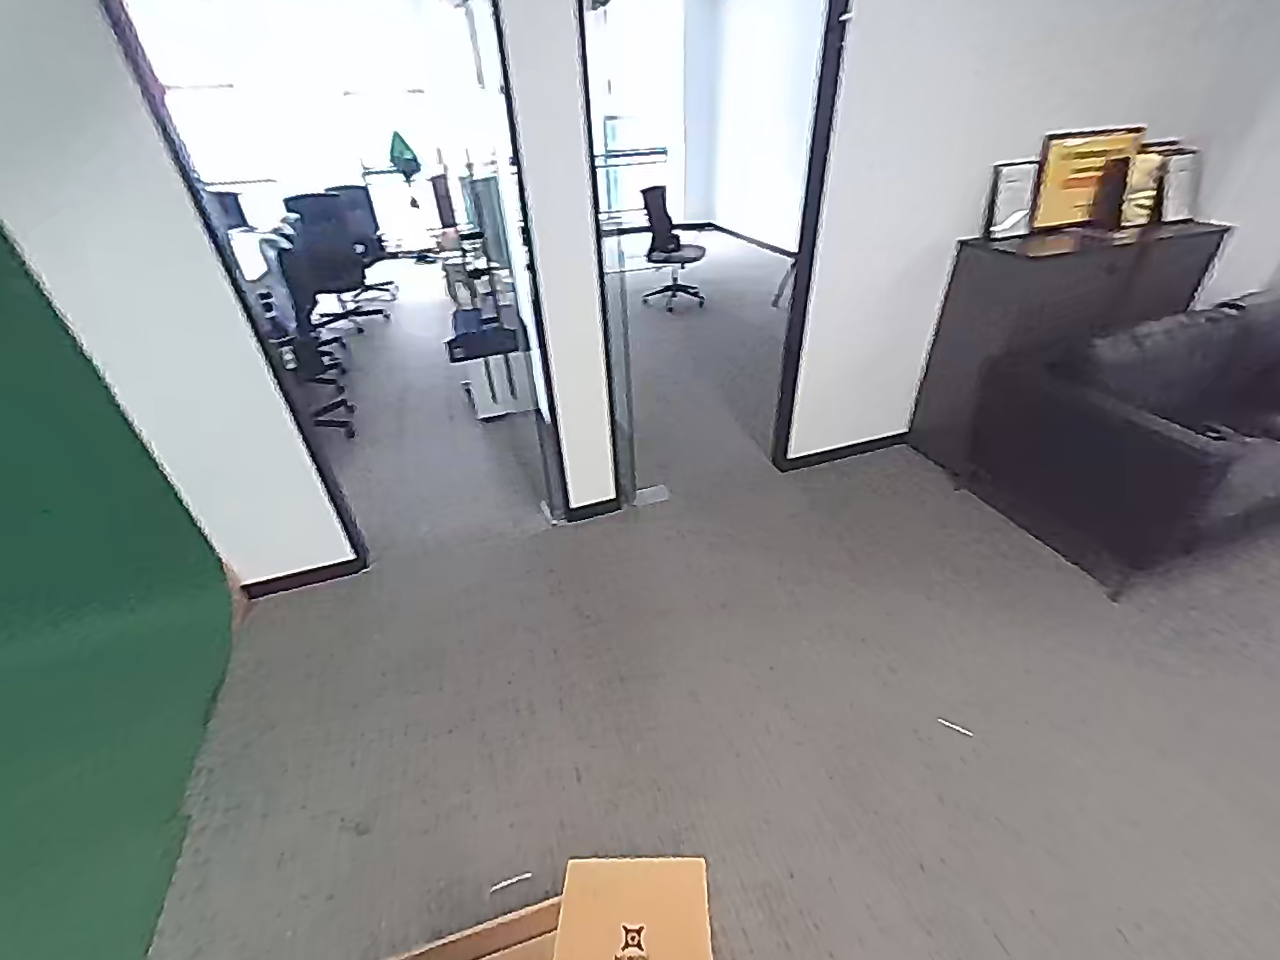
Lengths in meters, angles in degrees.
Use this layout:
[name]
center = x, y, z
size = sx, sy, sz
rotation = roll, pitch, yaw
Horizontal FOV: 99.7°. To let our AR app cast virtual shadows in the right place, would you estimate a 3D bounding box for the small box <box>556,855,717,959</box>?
[small box]
center = 0.000, 0.554, 0.592
size = 0.168, 0.176, 0.179
rotation = -2, 23, 4
